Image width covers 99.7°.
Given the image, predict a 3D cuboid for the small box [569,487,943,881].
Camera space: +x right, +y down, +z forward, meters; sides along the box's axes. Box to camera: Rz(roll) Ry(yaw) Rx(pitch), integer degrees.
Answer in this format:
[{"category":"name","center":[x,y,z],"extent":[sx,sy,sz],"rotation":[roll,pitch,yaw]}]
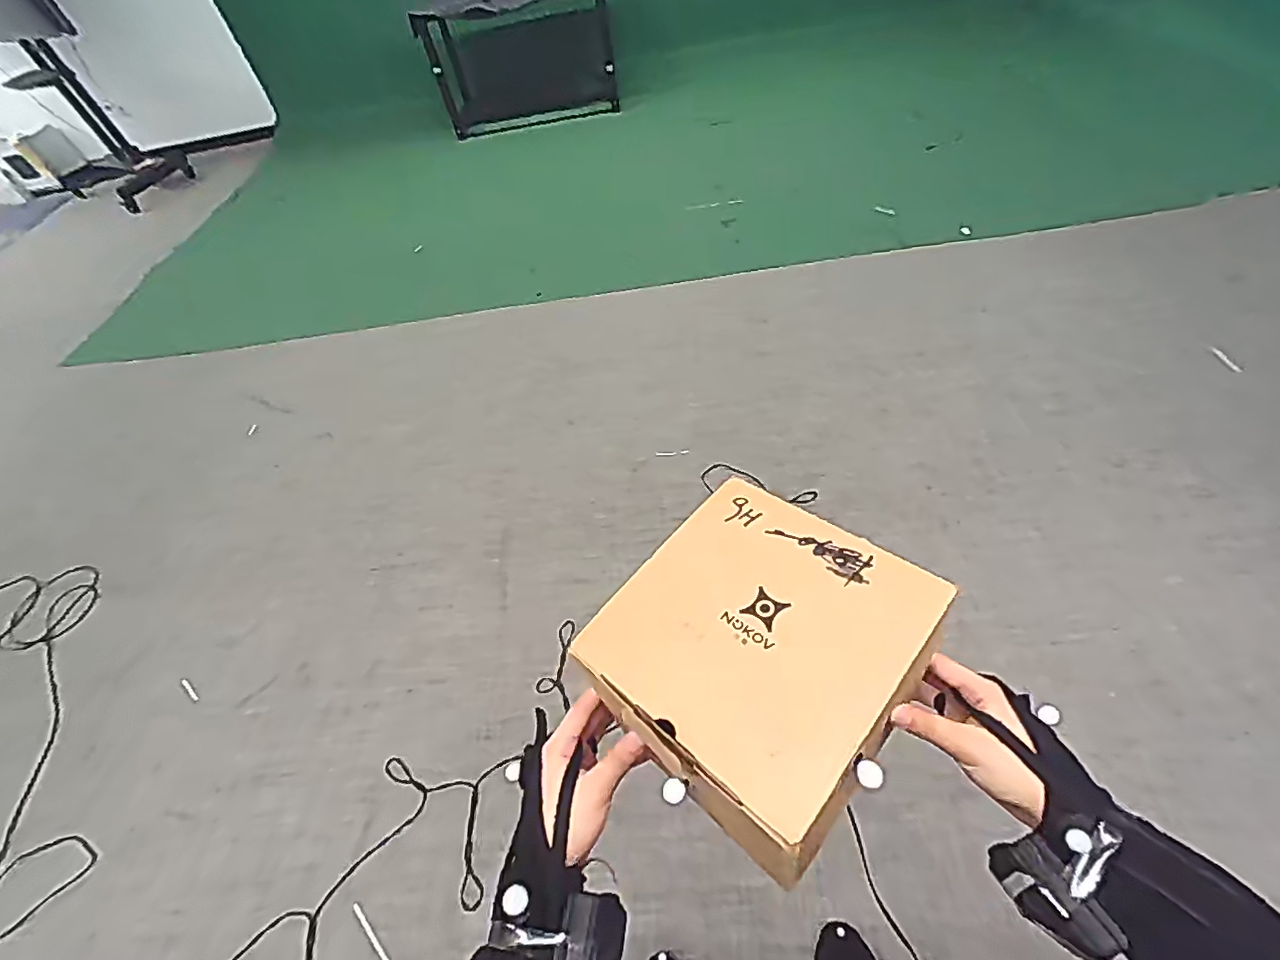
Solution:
[{"category":"small box","center":[0.084,0.144,0.390],"extent":[0.168,0.176,0.179],"rotation":[30,62,35]}]
